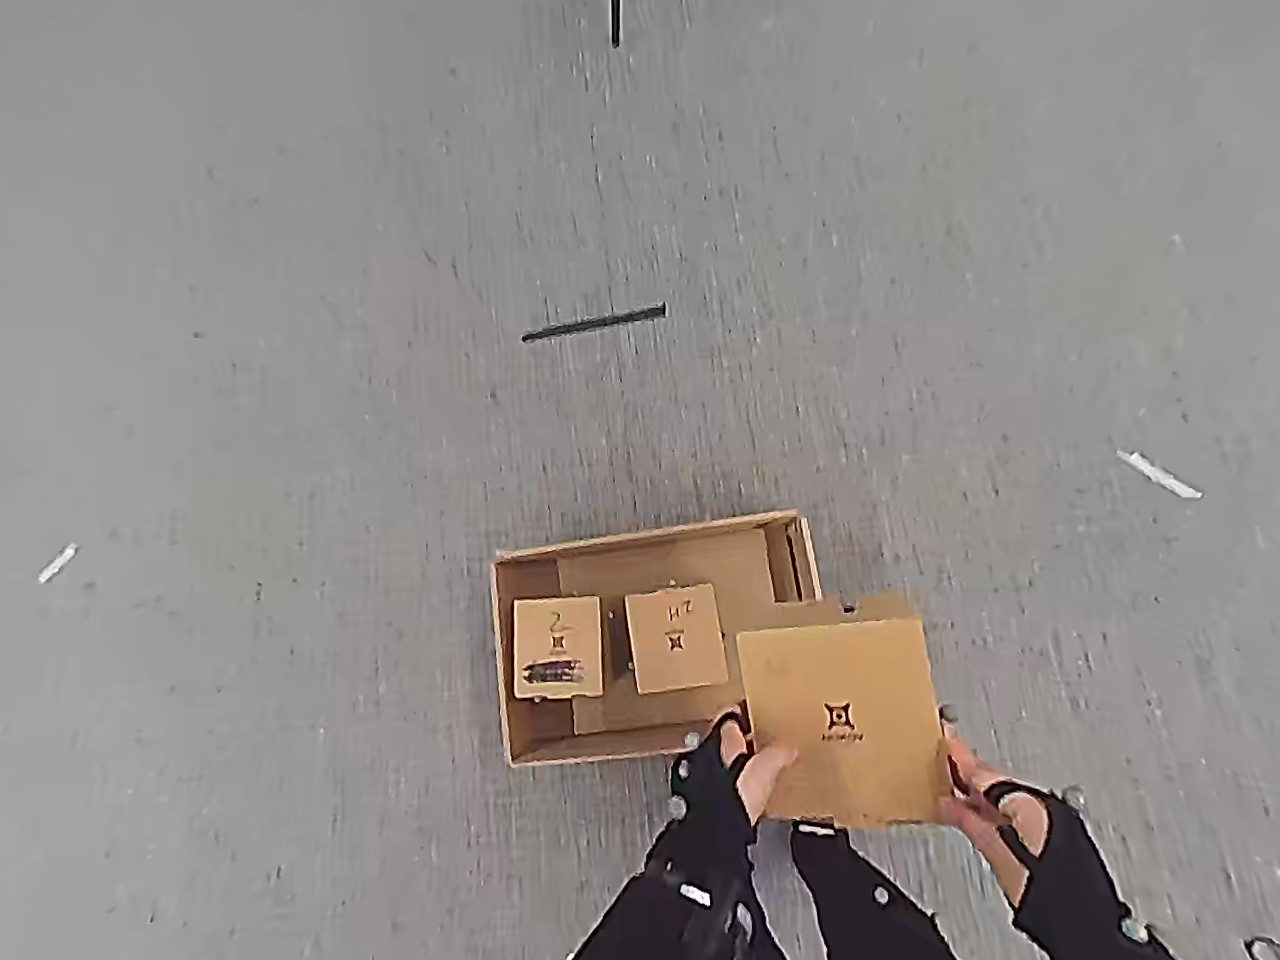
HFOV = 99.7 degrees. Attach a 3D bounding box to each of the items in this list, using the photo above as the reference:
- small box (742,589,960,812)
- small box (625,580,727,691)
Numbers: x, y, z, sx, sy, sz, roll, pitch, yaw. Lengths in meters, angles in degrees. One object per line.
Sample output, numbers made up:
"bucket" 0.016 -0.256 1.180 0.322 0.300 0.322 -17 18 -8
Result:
"small box" 0.214 0.216 0.571 0.168 0.176 0.179 -12 84 21
"small box" 0.075 0.292 1.043 0.168 0.176 0.179 -10 79 6
